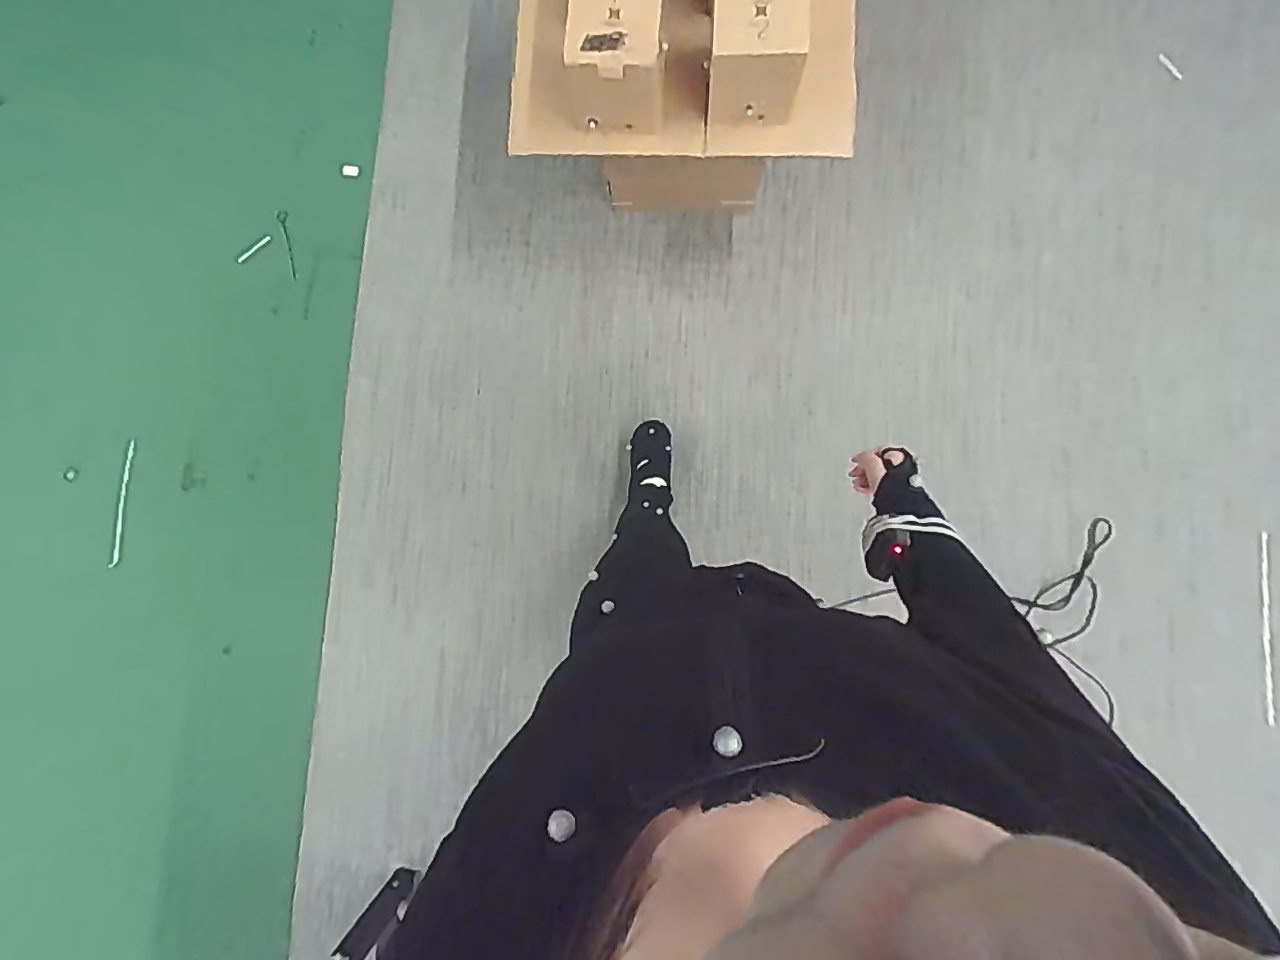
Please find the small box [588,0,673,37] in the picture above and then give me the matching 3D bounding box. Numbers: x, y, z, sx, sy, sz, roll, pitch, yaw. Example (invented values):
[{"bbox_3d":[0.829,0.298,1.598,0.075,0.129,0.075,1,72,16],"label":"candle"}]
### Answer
[{"bbox_3d":[-0.020,-1.010,1.044,0.168,0.176,0.179,2,84,5],"label":"small box"}]
